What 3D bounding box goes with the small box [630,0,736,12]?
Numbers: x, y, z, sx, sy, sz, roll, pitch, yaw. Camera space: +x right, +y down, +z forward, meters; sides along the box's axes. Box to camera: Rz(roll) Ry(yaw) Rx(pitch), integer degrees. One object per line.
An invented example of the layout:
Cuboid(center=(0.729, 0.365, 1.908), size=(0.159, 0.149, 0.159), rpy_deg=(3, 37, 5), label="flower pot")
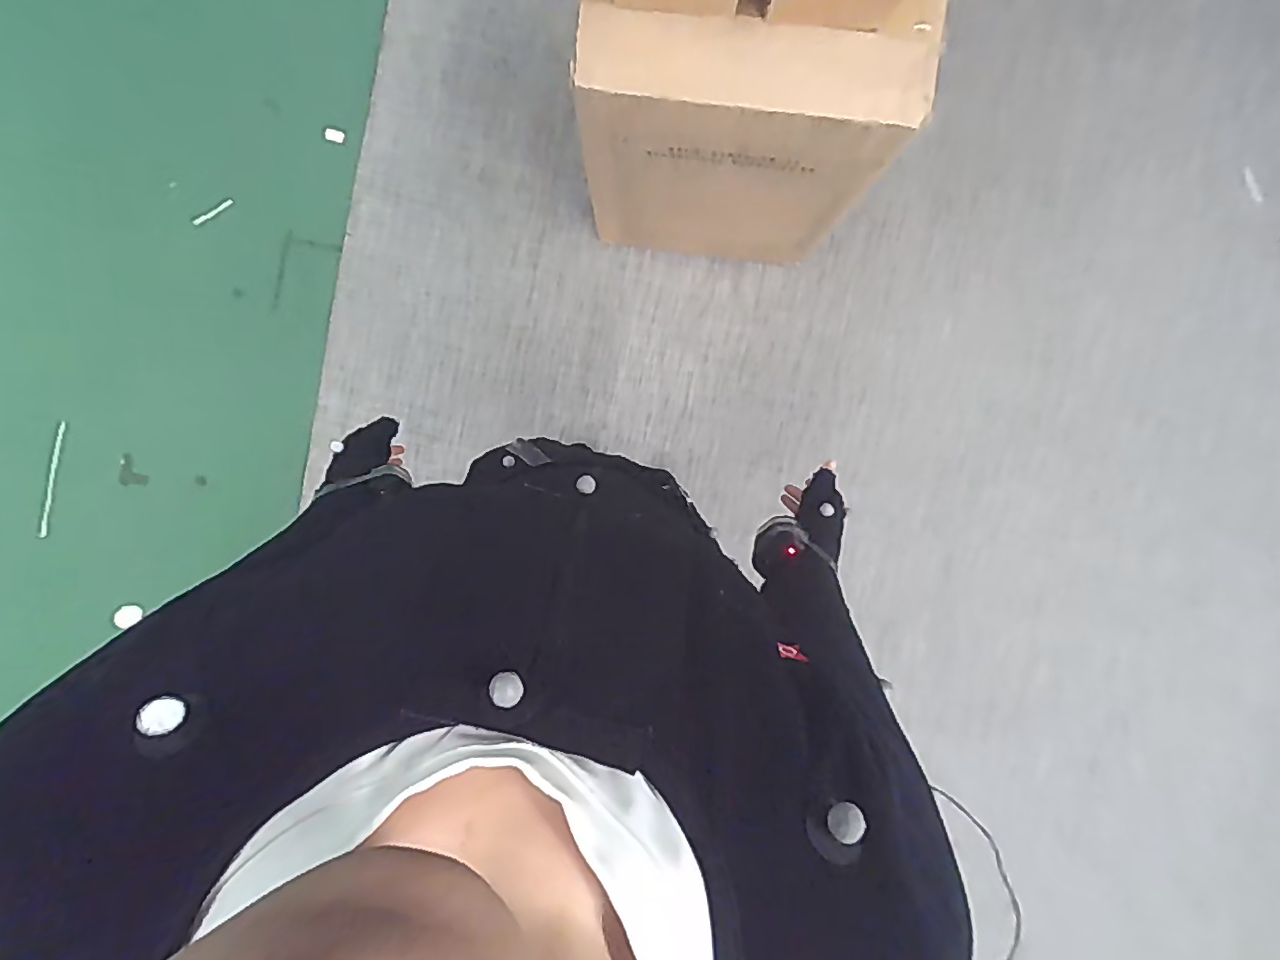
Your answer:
Cuboid(center=(0.057, -0.748, 0.690), size=(0.179, 0.176, 0.168), rpy_deg=(5, 98, -2), label="small box")
